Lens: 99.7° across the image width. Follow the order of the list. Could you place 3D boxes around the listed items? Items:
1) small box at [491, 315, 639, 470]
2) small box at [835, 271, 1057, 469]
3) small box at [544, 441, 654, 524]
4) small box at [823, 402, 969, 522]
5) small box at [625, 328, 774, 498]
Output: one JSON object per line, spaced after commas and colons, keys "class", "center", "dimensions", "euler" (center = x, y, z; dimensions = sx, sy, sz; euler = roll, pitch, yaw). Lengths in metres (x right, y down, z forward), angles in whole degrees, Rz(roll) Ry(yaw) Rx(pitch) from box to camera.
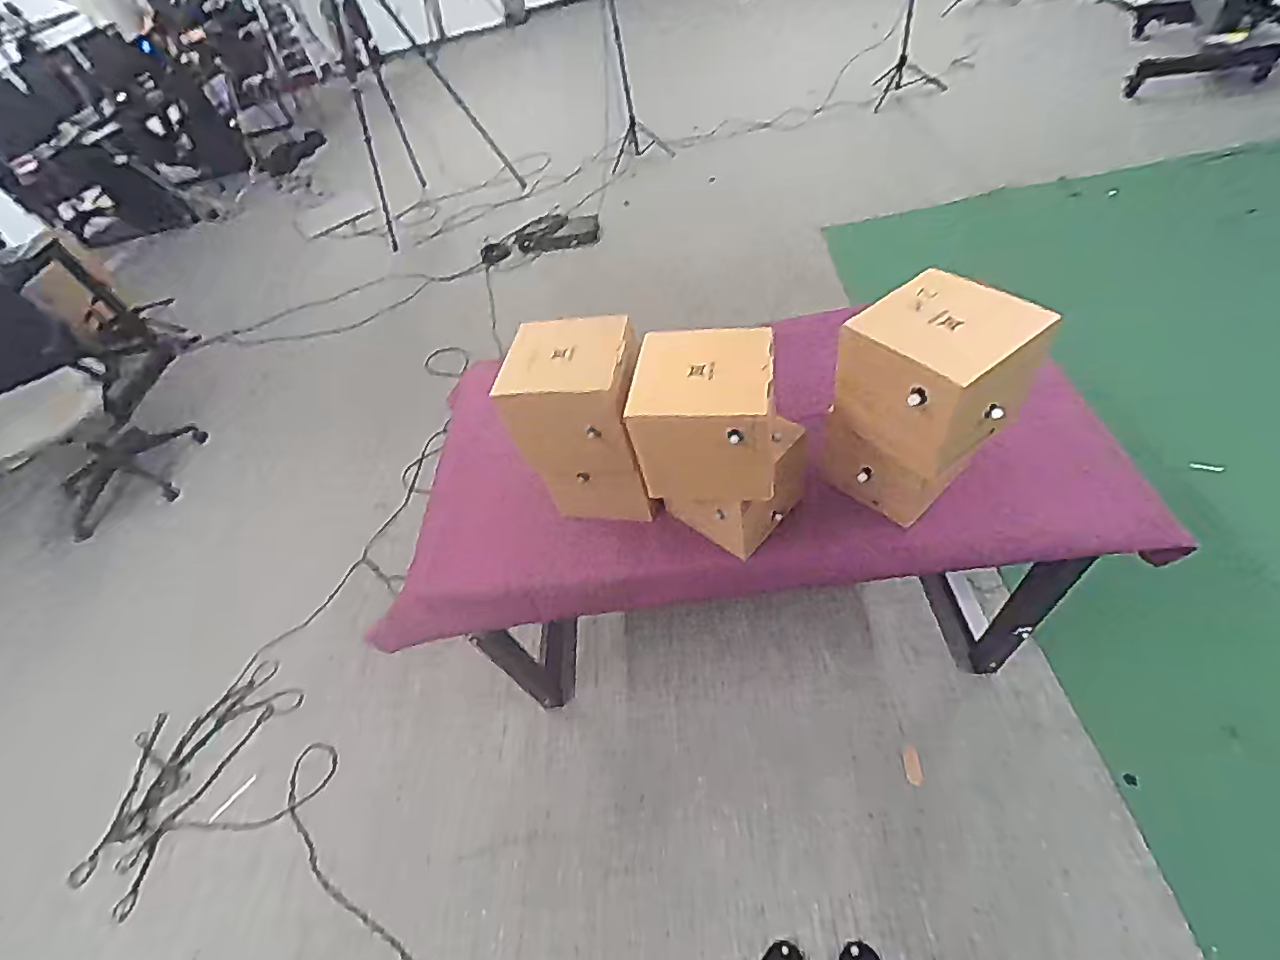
{"class": "small box", "center": [-0.092, -0.128, 0.823], "dimensions": [0.179, 0.176, 0.168], "euler": [0, 51, 14]}
{"class": "small box", "center": [0.383, -0.138, 0.712], "dimensions": [0.168, 0.176, 0.179], "euler": [-33, 50, -13]}
{"class": "small box", "center": [-0.063, -0.040, 0.962], "dimensions": [0.179, 0.176, 0.168], "euler": [9, 53, 13]}
{"class": "small box", "center": [0.414, -0.066, 0.863], "dimensions": [0.179, 0.176, 0.168], "euler": [-39, 53, -17]}
{"class": "small box", "center": [0.093, -0.088, 0.746], "dimensions": [0.179, 0.176, 0.168], "euler": [2, 52, 14]}
